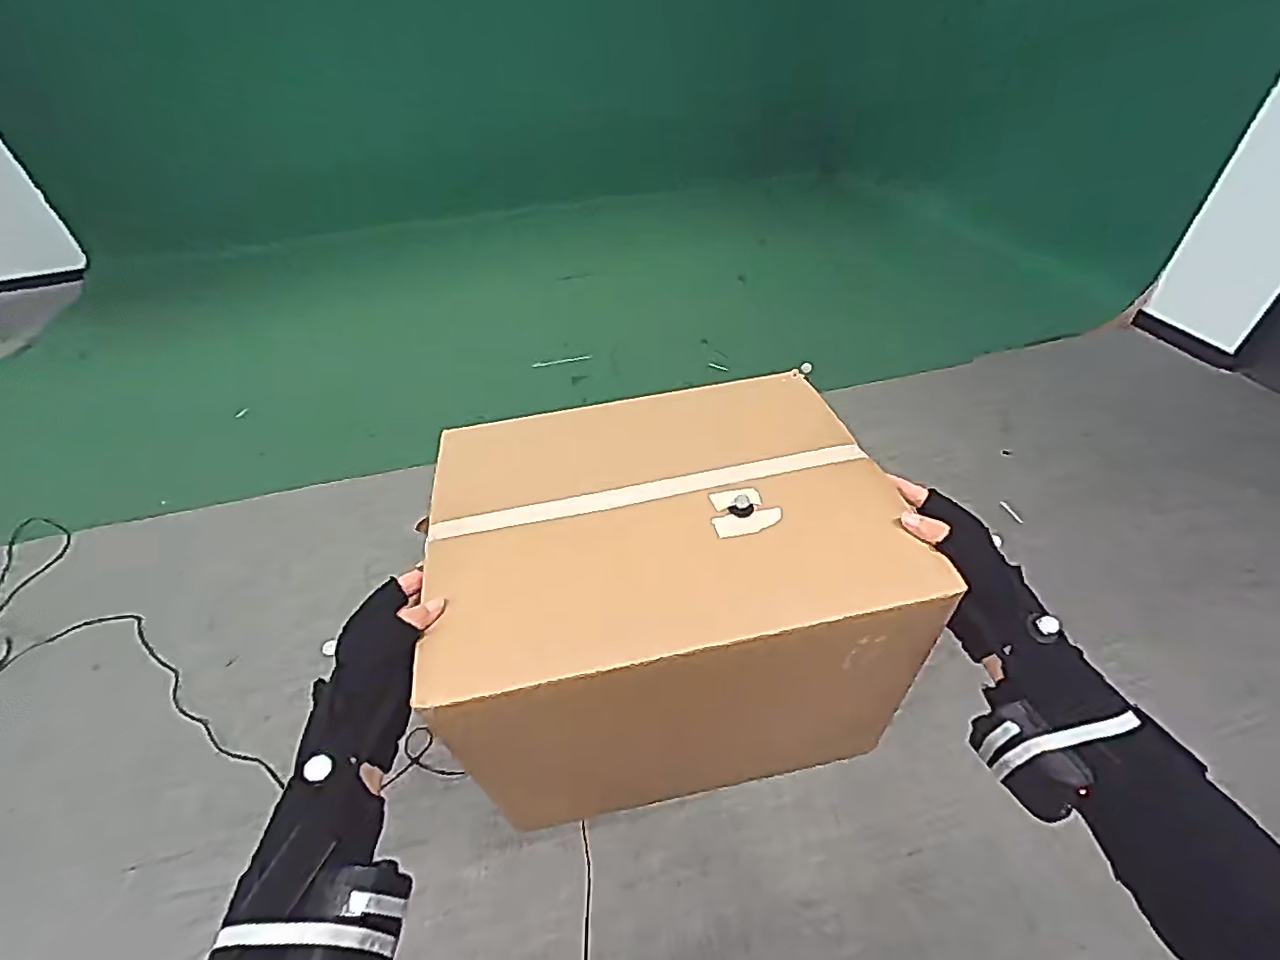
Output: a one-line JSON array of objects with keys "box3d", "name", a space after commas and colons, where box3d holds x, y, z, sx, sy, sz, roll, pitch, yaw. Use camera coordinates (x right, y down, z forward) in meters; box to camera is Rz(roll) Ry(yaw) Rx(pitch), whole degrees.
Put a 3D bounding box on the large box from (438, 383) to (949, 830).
[{"box3d": [0.028, 0.131, 0.604, 0.408, 0.320, 0.320, -10, 44, -6], "name": "large box"}]
